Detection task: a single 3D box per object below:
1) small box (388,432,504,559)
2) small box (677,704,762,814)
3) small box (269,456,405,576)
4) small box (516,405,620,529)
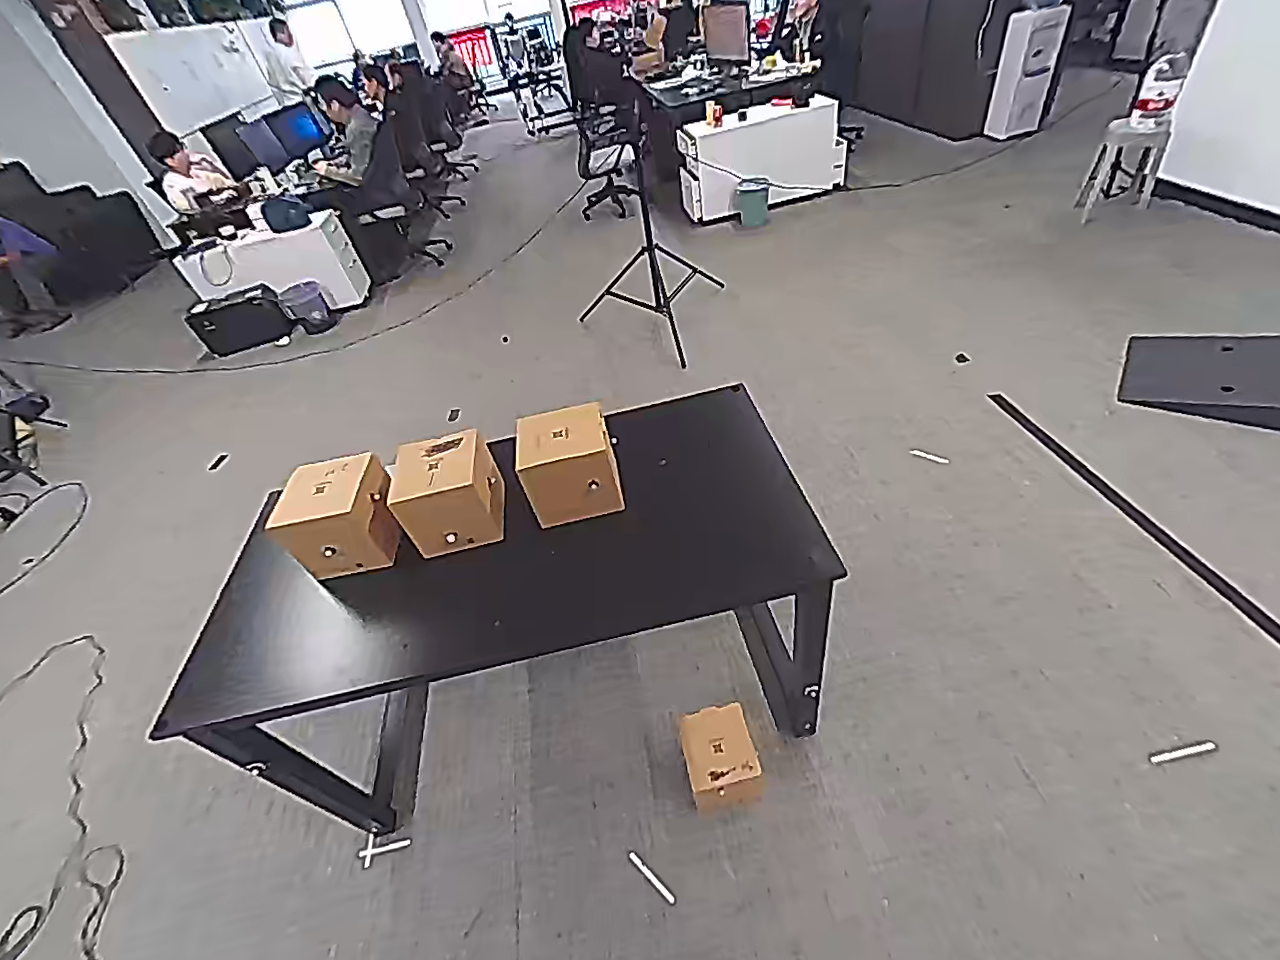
[{"bbox_3d":[-0.385,0.032,1.106,0.168,0.176,0.179,-14,44,-1],"label":"small box"},{"bbox_3d":[0.197,0.692,1.340,0.168,0.176,0.179,-15,42,0],"label":"small box"},{"bbox_3d":[-0.604,0.080,1.110,0.168,0.176,0.179,-11,43,2],"label":"small box"},{"bbox_3d":[-0.143,-0.025,1.110,0.179,0.176,0.168,-14,41,0],"label":"small box"}]
